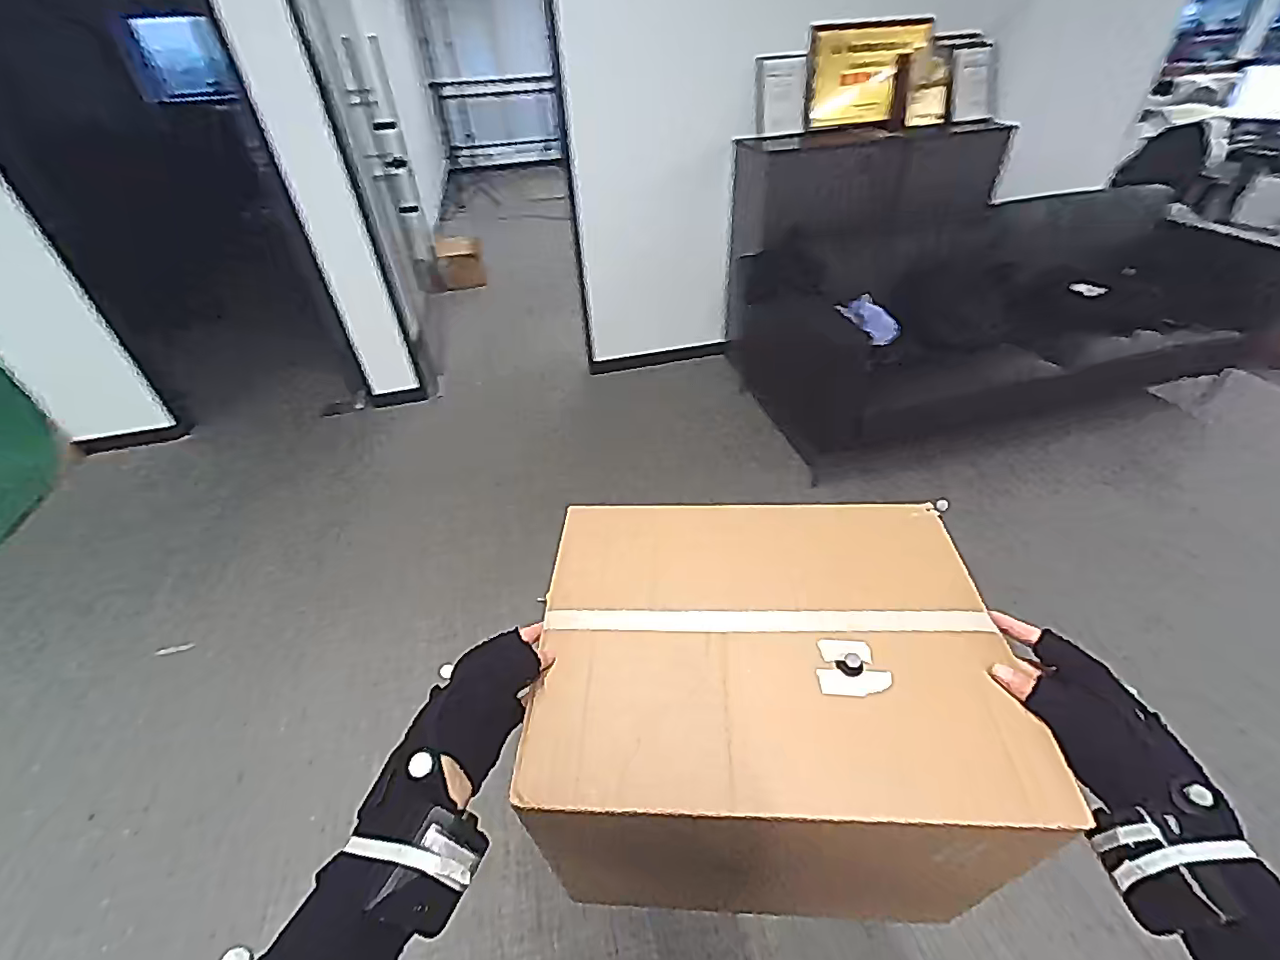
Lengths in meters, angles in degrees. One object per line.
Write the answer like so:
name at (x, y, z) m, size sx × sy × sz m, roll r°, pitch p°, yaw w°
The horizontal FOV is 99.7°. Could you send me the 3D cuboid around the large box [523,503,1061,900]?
large box at (0.118, 0.245, 0.605) m, size 0.408 × 0.320 × 0.320 m, roll -1°, pitch 42°, yaw 4°
